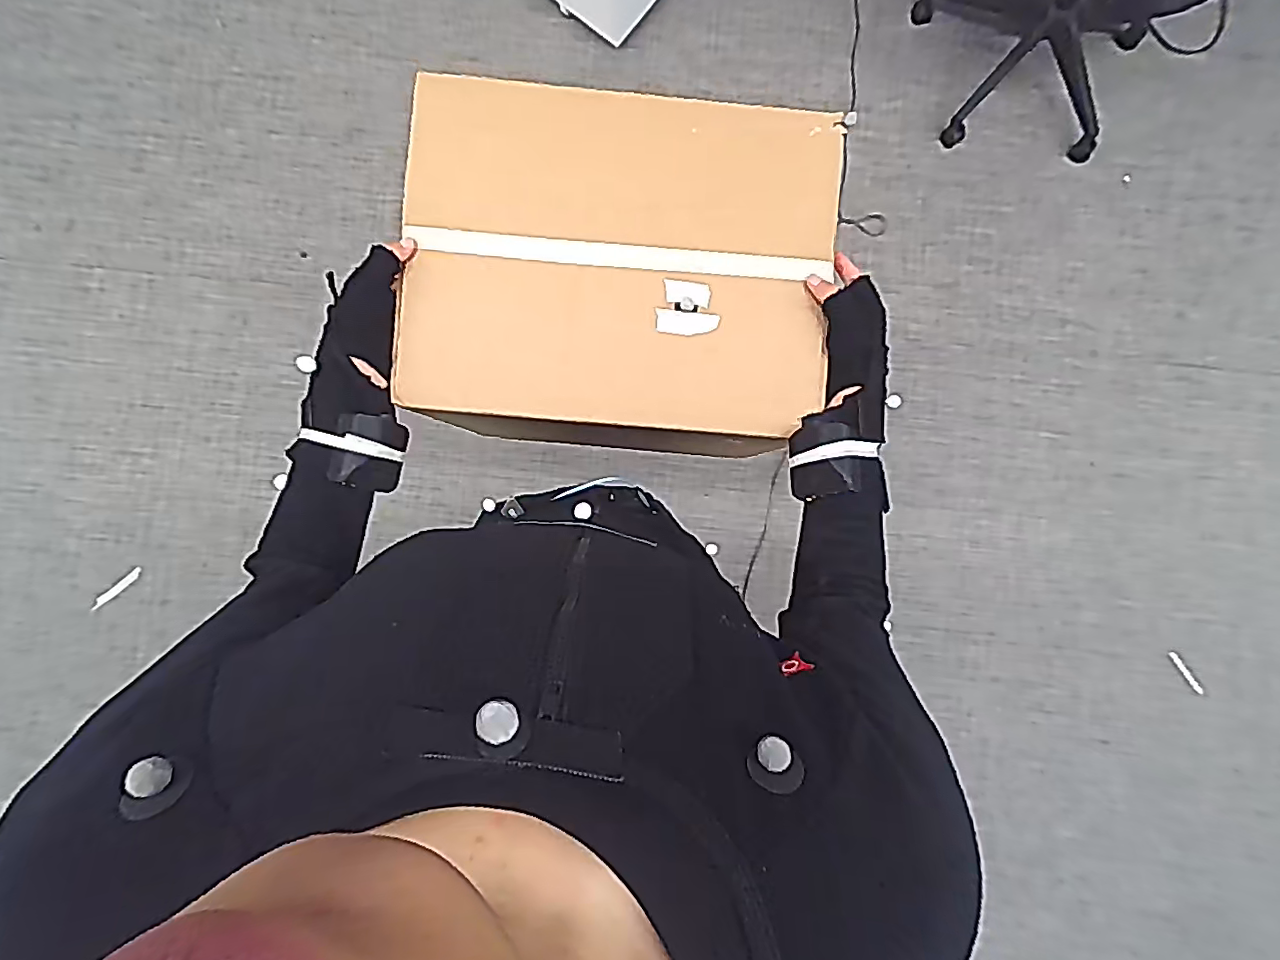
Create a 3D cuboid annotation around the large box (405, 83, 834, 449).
[{"bbox_3d":[-0.024,-0.213,0.670,0.408,0.320,0.320,5,90,-2],"label":"large box"}]
